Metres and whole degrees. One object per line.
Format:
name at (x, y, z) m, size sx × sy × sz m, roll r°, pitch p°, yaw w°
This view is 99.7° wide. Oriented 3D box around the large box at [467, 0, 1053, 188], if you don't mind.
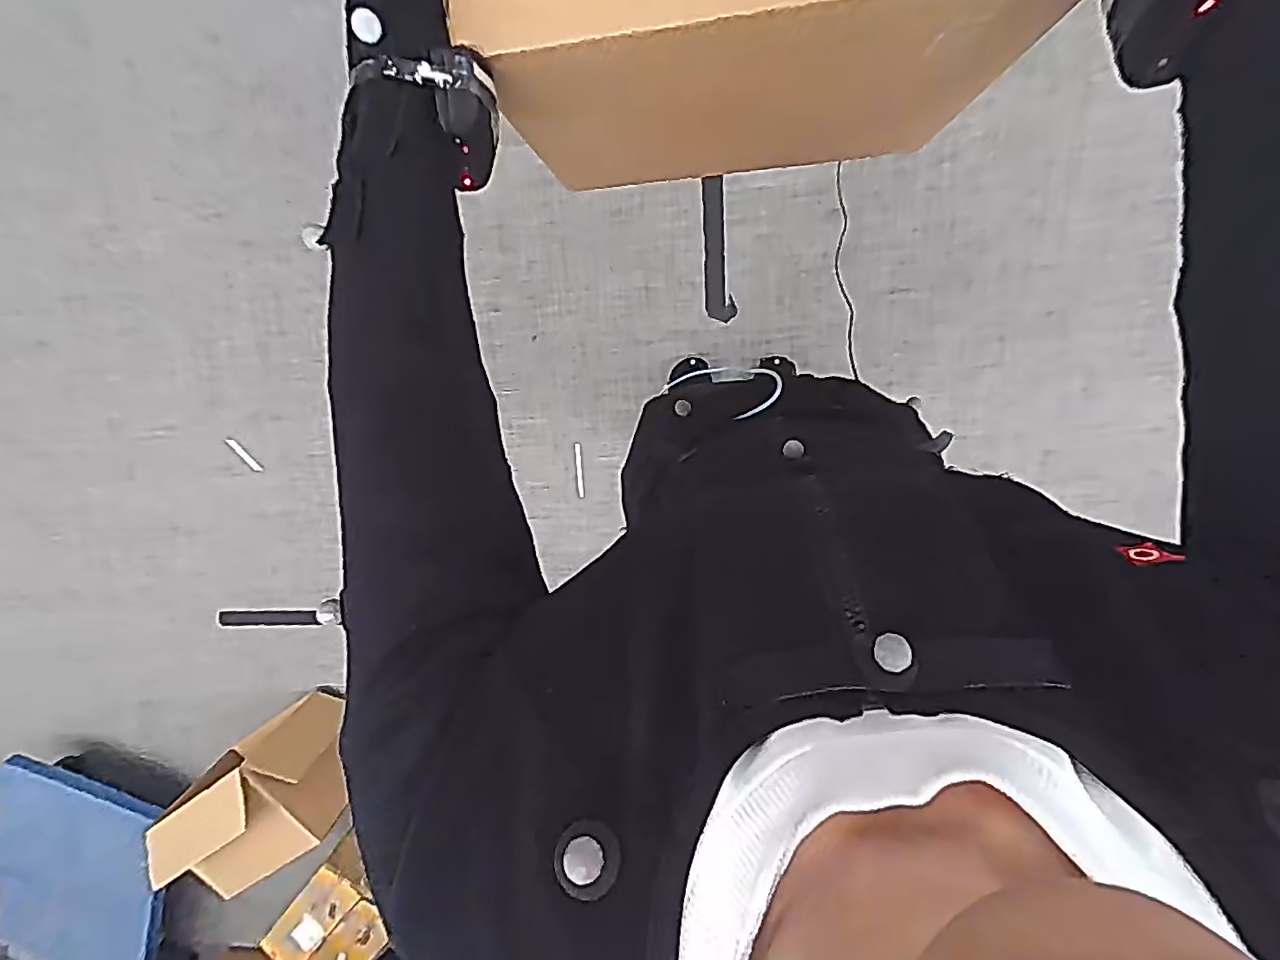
large box at (0.083, -0.476, 0.448) m, size 0.408 × 0.320 × 0.320 m, roll -4°, pitch 103°, yaw 6°
